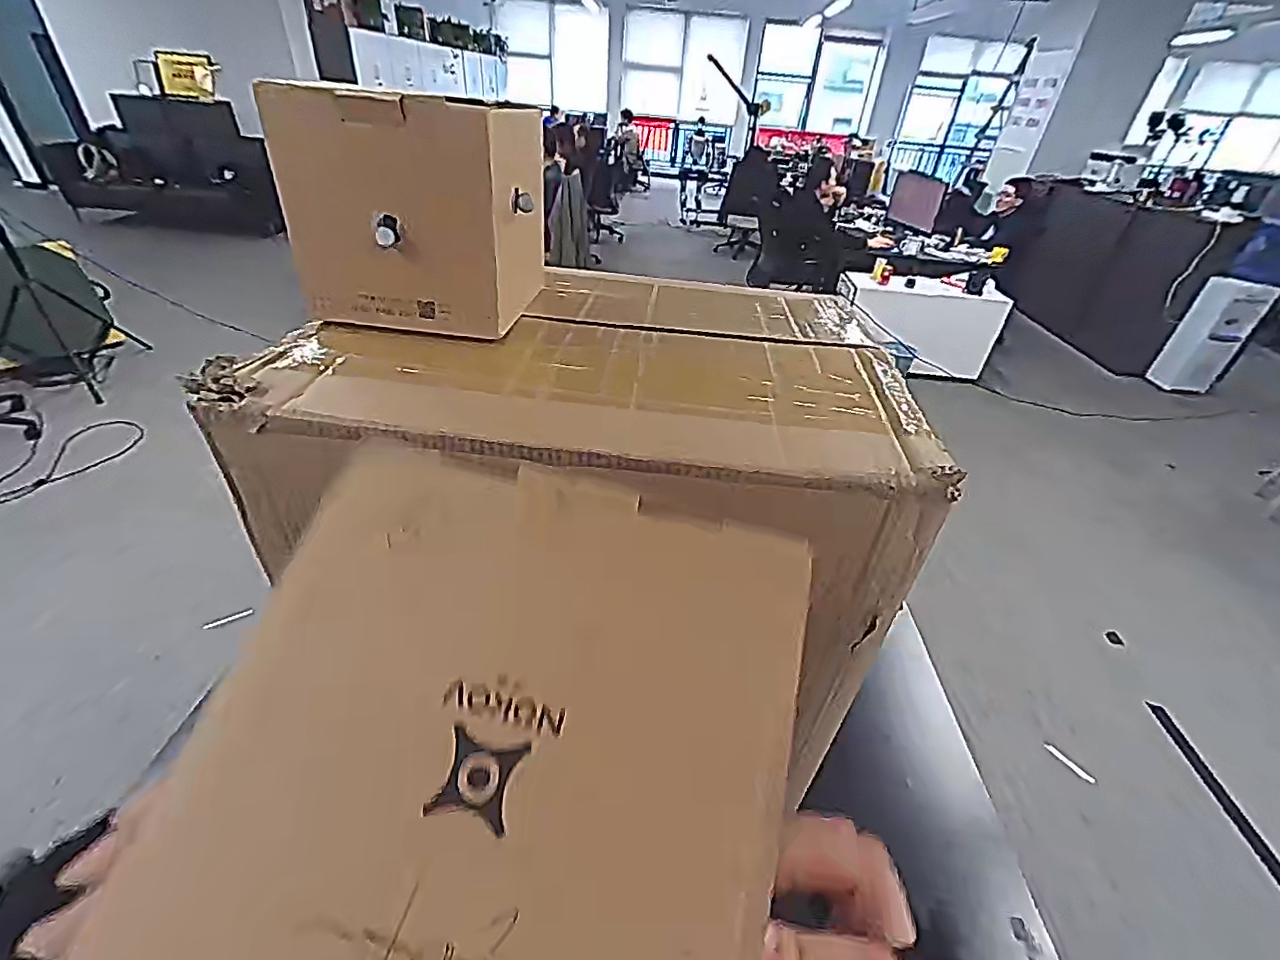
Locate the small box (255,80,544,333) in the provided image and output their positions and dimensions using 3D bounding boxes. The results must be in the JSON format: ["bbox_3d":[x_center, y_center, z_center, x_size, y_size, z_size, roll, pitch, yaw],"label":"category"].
[{"bbox_3d":[-0.182,-0.241,0.478,0.168,0.176,0.179,6,35,0],"label":"small box"}]

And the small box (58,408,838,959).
[{"bbox_3d":[-0.036,0.101,0.215,0.168,0.176,0.179,12,66,6],"label":"small box"}]
